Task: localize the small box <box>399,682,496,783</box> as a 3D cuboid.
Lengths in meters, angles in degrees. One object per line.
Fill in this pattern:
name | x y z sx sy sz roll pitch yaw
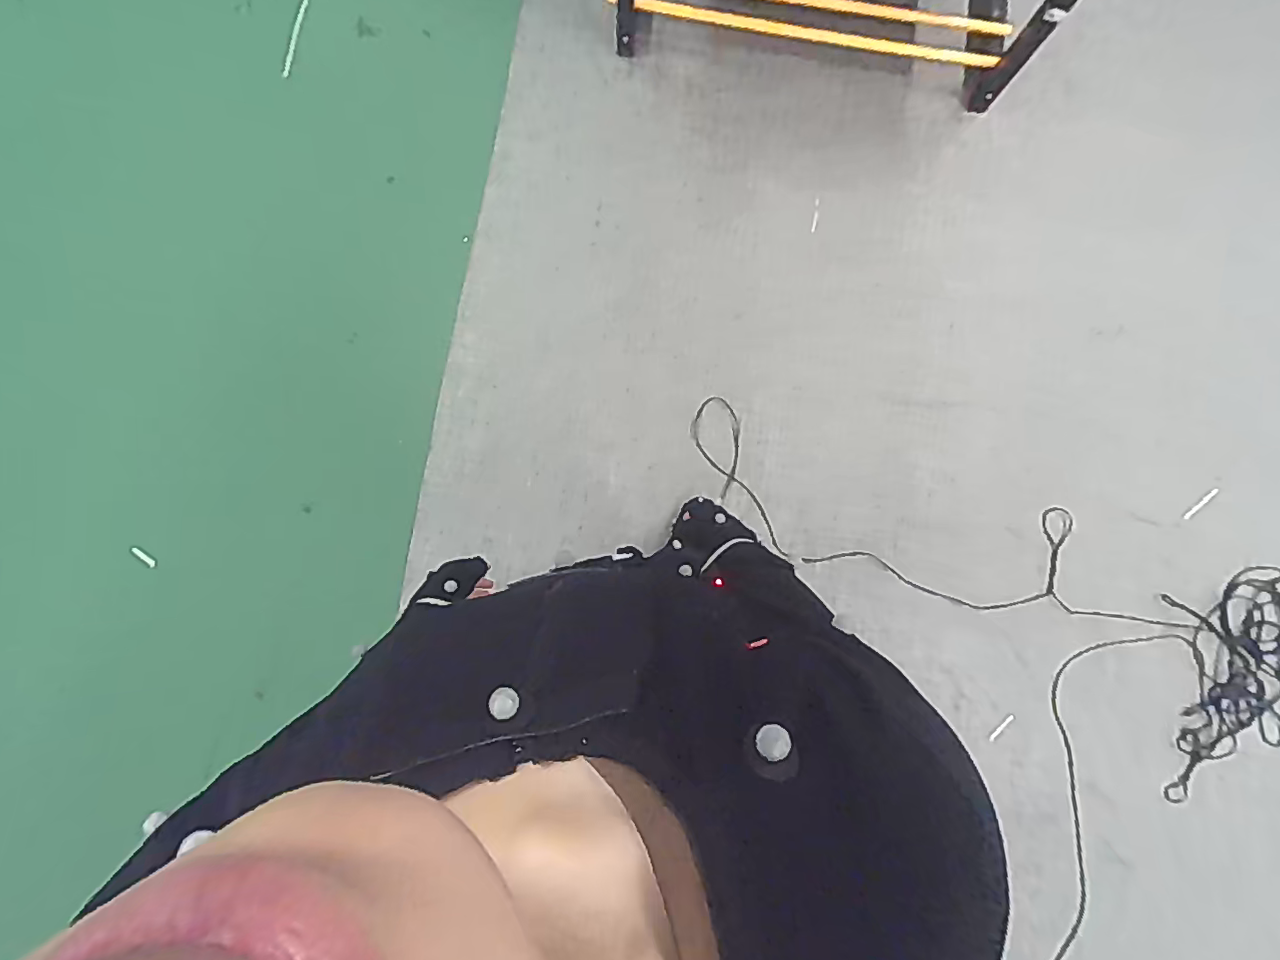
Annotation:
small box | -0.465 0.614 1.337 0.168 0.176 0.179 9 82 0
